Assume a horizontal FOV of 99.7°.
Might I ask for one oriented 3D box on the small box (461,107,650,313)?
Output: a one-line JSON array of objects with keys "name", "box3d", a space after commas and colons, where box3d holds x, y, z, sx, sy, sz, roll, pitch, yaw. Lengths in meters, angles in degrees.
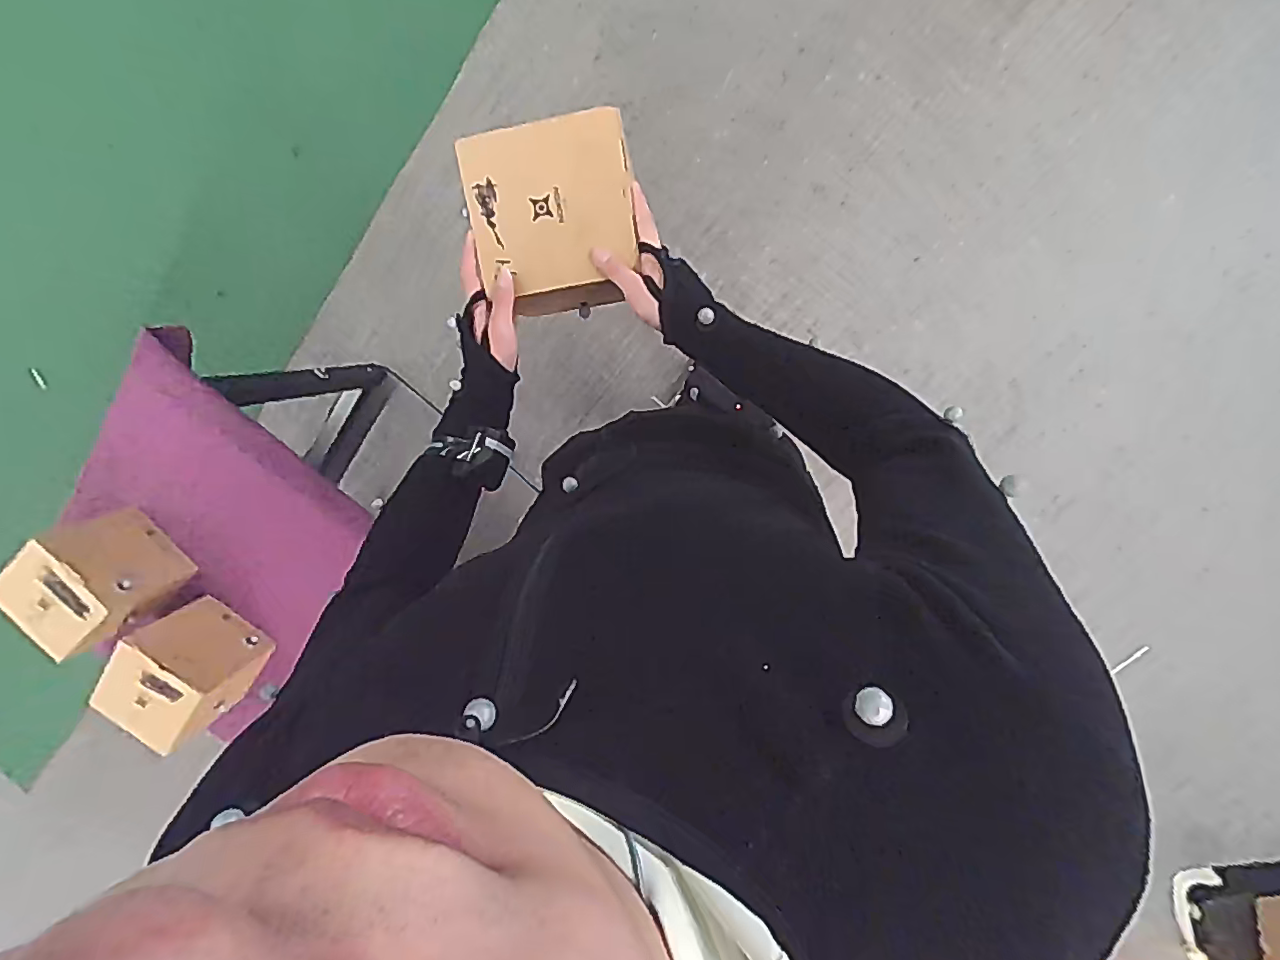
[{"name": "small box", "box3d": [-0.084, -0.301, 0.640, 0.179, 0.176, 0.168, -8, 100, 4]}]
